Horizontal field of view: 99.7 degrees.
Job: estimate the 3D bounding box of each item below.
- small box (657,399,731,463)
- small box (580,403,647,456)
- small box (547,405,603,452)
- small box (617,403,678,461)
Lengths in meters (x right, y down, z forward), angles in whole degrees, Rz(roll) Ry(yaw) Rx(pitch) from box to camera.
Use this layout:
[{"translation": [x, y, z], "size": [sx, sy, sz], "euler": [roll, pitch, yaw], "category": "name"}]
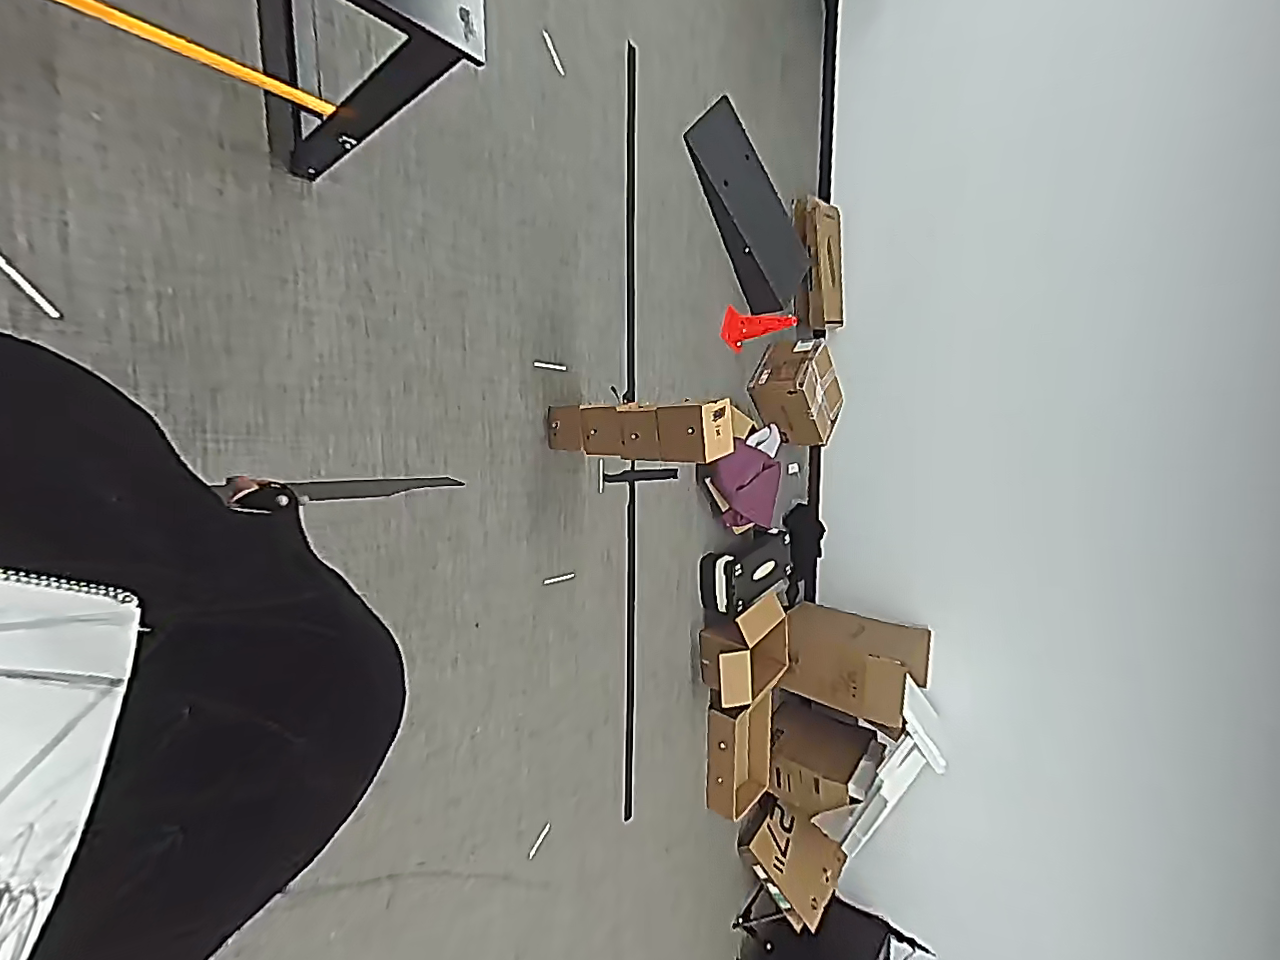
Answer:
[{"translation": [0.167, -0.154, 1.687], "size": [0.168, 0.176, 0.179], "euler": [-21, 109, -48], "category": "small box"}, {"translation": [-0.086, -0.180, 1.897], "size": [0.179, 0.176, 0.168], "euler": [-17, 105, -48], "category": "small box"}, {"translation": [-0.221, -0.192, 1.992], "size": [0.179, 0.176, 0.168], "euler": [-10, 100, -48], "category": "small box"}, {"translation": [0.037, -0.159, 1.790], "size": [0.179, 0.176, 0.168], "euler": [-20, 108, -48], "category": "small box"}]
